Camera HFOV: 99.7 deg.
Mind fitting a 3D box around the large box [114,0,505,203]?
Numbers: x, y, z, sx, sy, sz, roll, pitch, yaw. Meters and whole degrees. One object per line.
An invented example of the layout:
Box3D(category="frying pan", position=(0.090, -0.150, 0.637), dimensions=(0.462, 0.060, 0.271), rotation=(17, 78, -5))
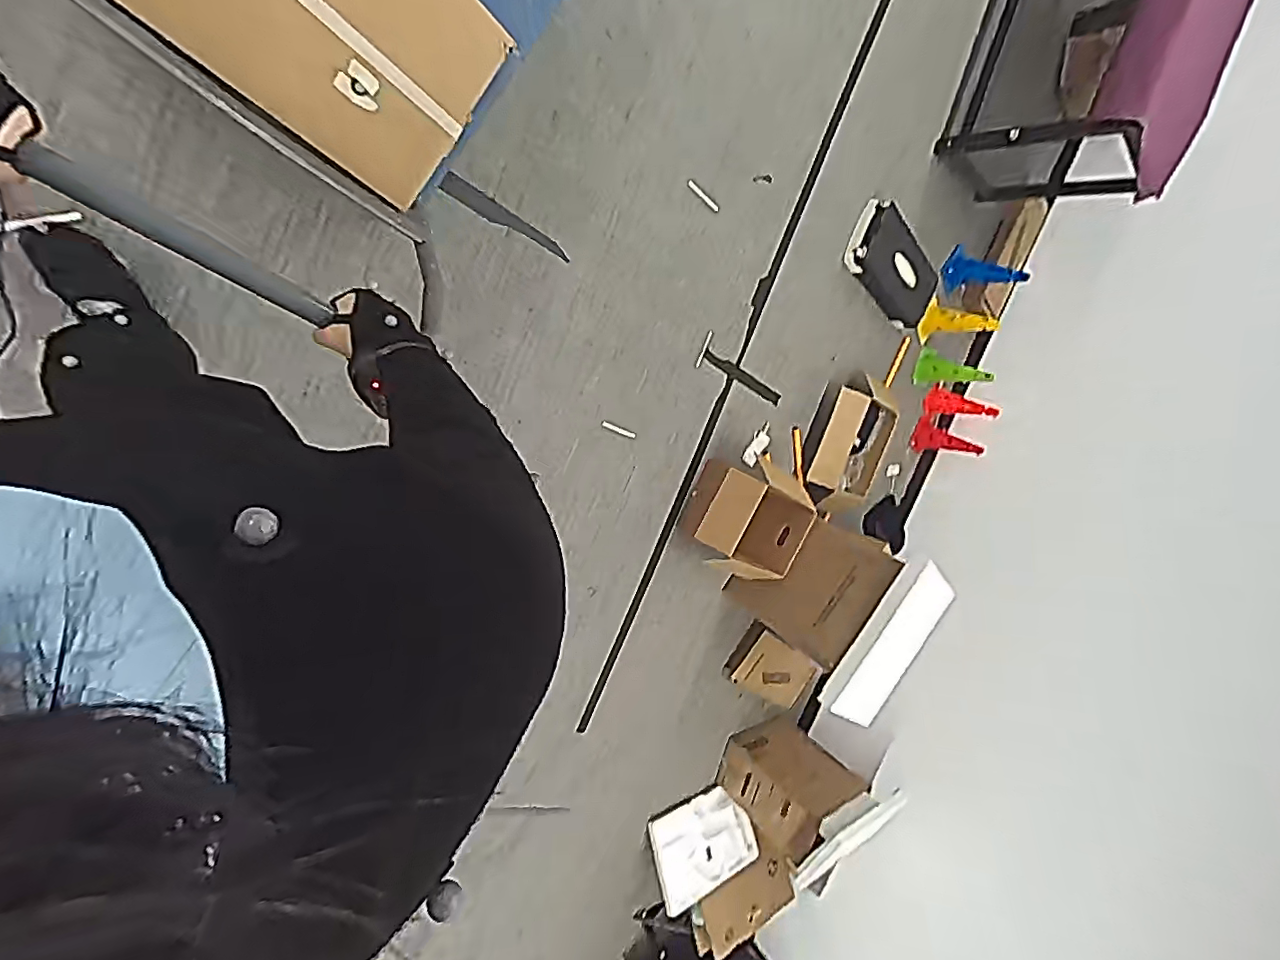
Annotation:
Box3D(category="large box", position=(-0.494, -0.728, 0.835), dimensions=(0.320, 0.320, 0.408), rotation=(-46, 136, 14))
